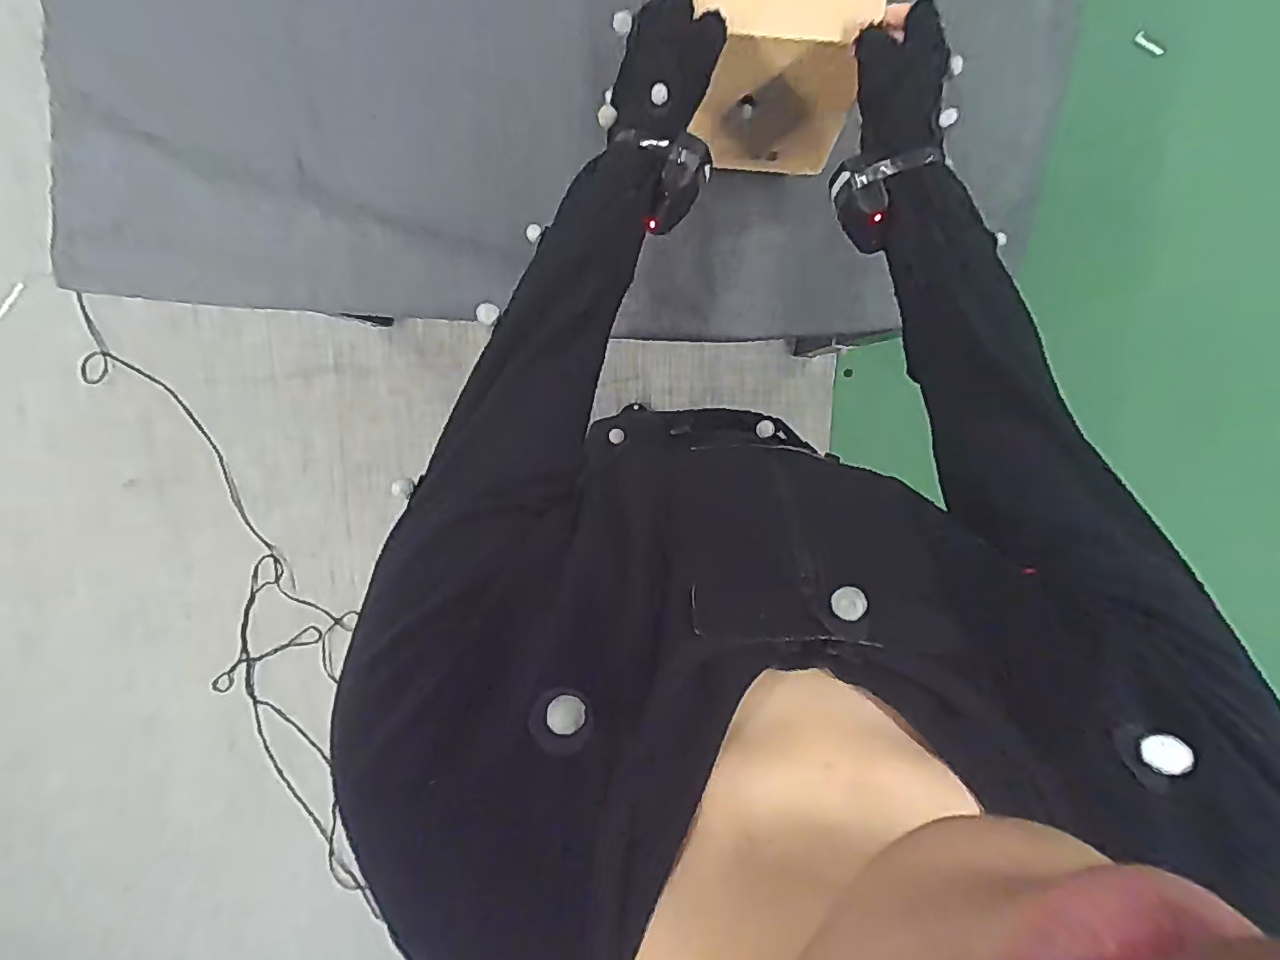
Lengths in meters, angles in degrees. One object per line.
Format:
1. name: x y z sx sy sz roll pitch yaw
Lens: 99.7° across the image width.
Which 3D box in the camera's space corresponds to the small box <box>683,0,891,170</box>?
1. small box: 0.135 -0.448 0.546 0.168 0.176 0.179 4 80 0
